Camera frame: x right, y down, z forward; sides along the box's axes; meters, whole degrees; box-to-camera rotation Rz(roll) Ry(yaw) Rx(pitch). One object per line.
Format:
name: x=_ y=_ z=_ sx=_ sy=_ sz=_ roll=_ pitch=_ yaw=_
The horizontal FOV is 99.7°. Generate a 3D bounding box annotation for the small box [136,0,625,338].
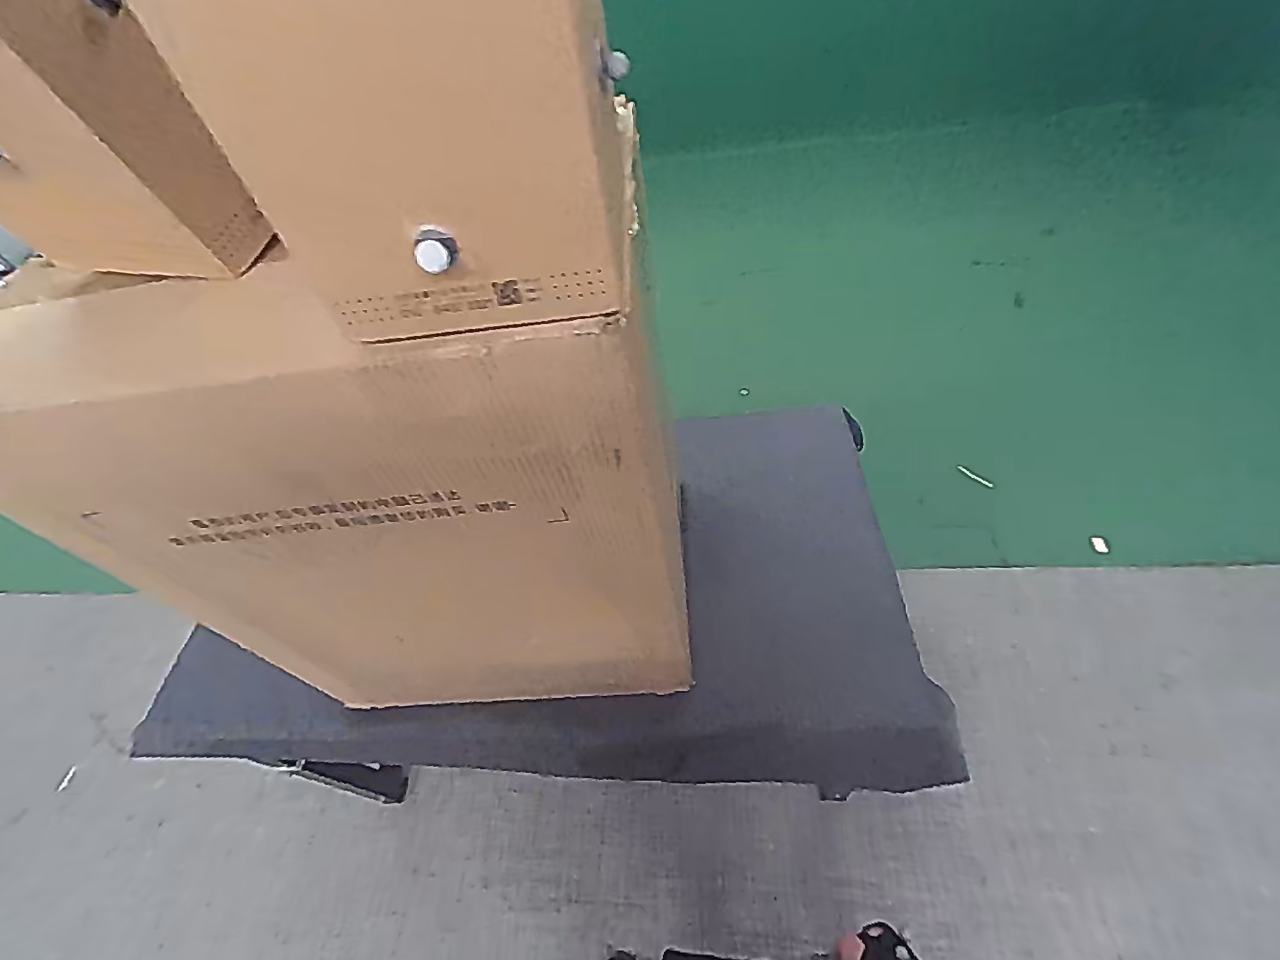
small box: x=-0.102 y=-0.203 z=0.300 sx=0.168 sy=0.176 sz=0.179 roll=-5 pitch=52 yaw=6

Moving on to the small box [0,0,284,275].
small box: x=-0.364 y=-0.263 z=0.372 sx=0.179 sy=0.176 sz=0.168 roll=7 pitch=65 yaw=13
